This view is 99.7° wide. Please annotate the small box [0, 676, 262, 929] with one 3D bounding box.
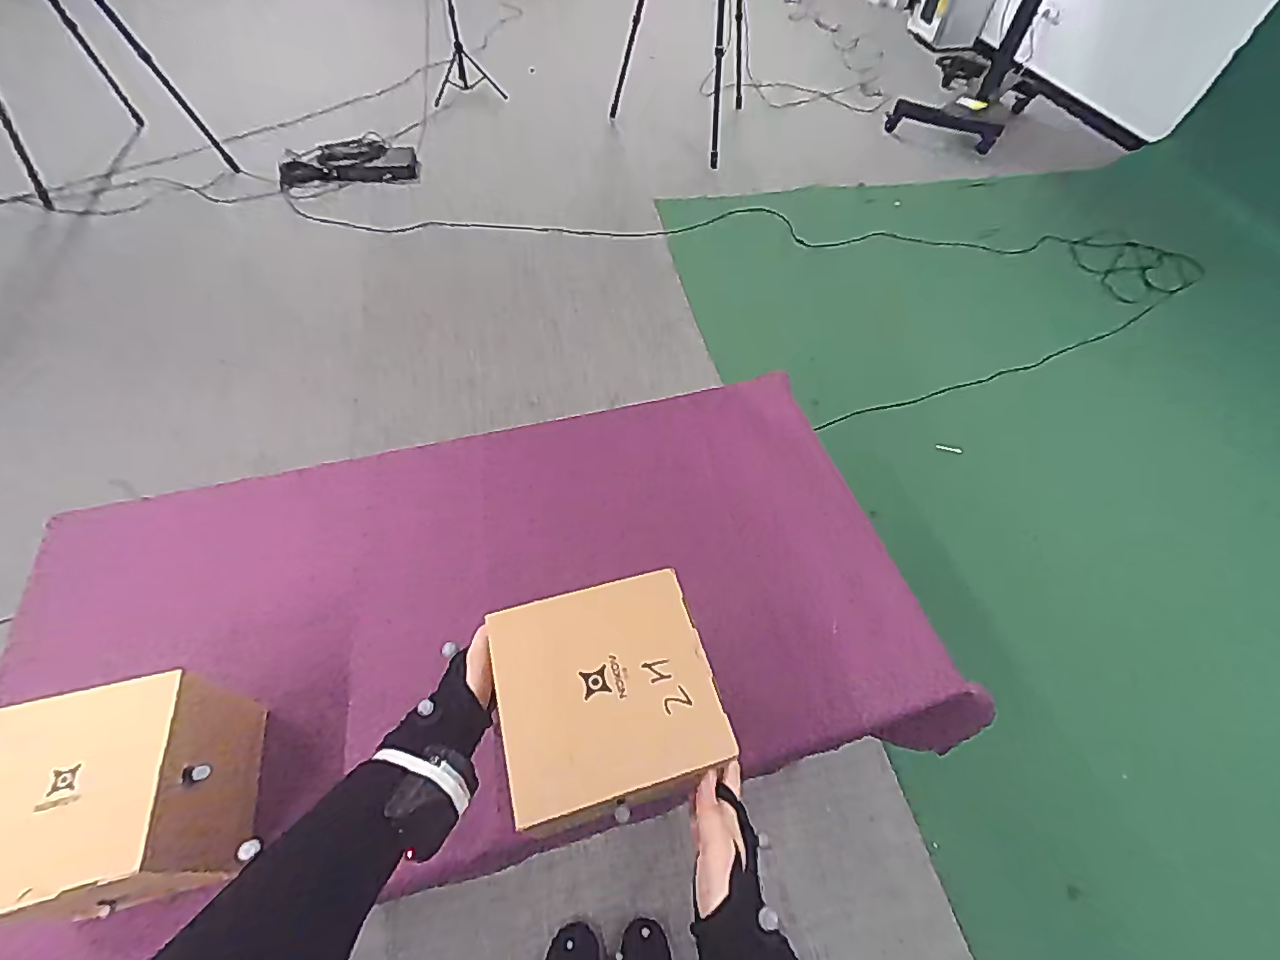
[{"bbox_3d":[-0.517,0.324,0.546,0.168,0.176,0.179,-11,57,-11],"label":"small box"}]
